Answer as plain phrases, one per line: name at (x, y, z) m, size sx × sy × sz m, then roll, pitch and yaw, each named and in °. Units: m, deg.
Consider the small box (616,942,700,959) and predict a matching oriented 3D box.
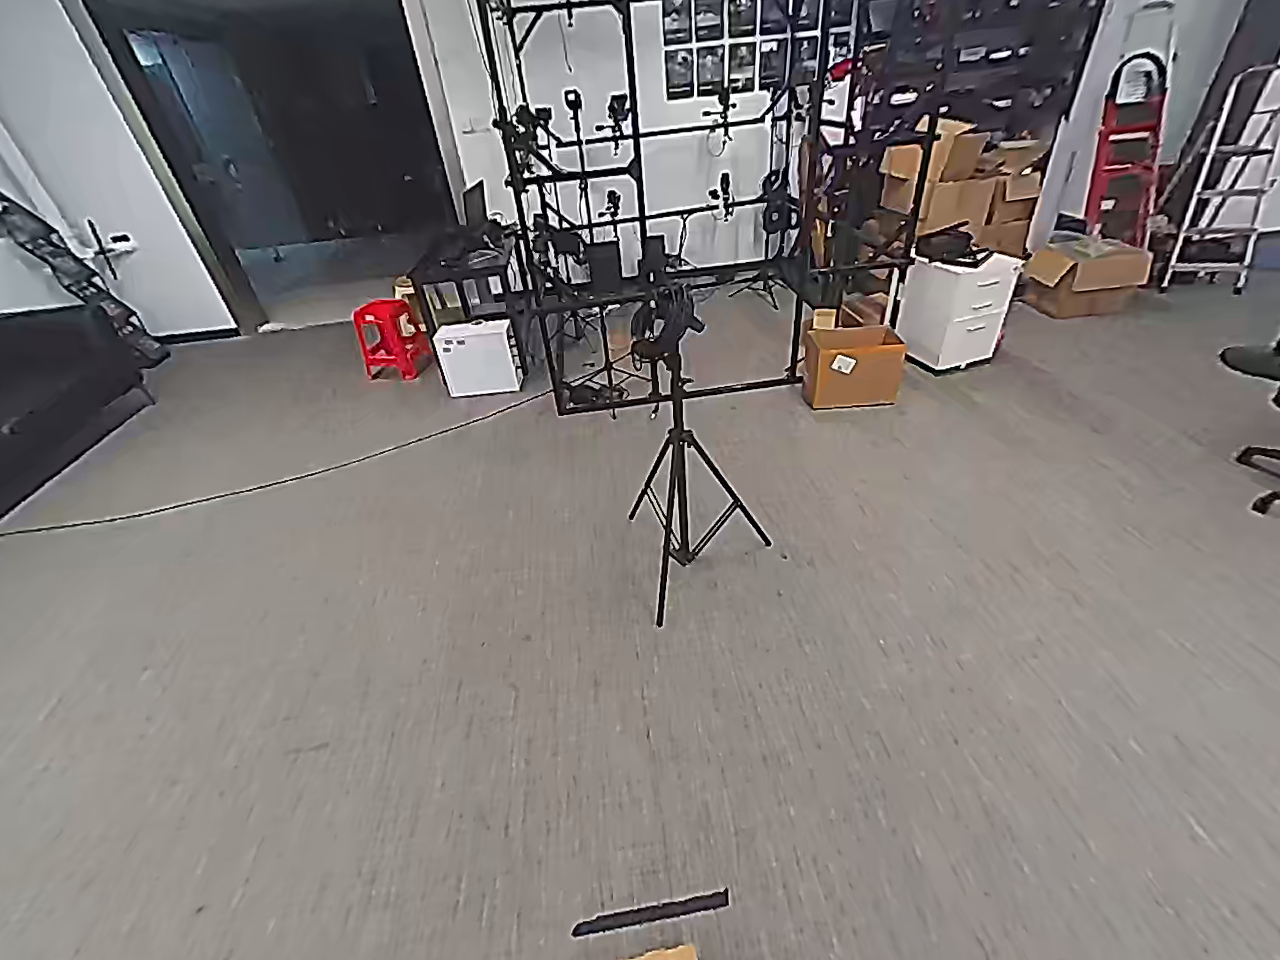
small box at (0.052, 1.034, 1.036) m, size 0.168 × 0.176 × 0.179 m, roll -9°, pitch 36°, yaw -5°
